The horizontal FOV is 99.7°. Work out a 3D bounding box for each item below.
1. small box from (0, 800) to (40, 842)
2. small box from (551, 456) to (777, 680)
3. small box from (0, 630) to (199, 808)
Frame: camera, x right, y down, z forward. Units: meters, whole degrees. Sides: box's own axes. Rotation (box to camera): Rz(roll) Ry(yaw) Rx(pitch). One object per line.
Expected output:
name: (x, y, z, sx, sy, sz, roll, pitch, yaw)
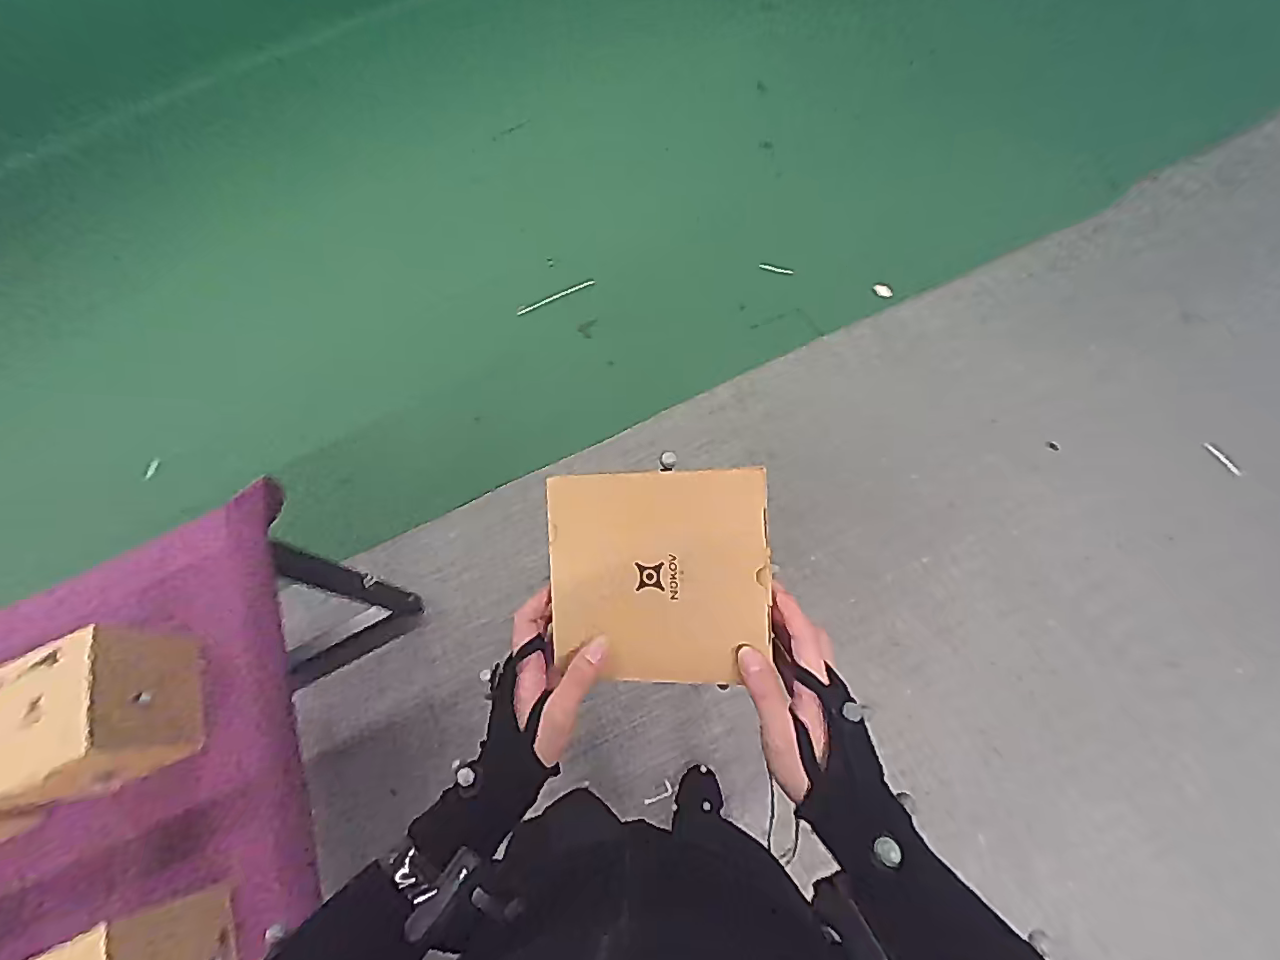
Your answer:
small box: (-1.001, 0.443, 0.761, 0.179, 0.176, 0.168, -27, 65, -1)
small box: (0.032, 0.066, 0.489, 0.179, 0.176, 0.168, -1, 90, 12)
small box: (-0.776, 0.335, 0.772, 0.168, 0.176, 0.179, -25, 66, -1)
